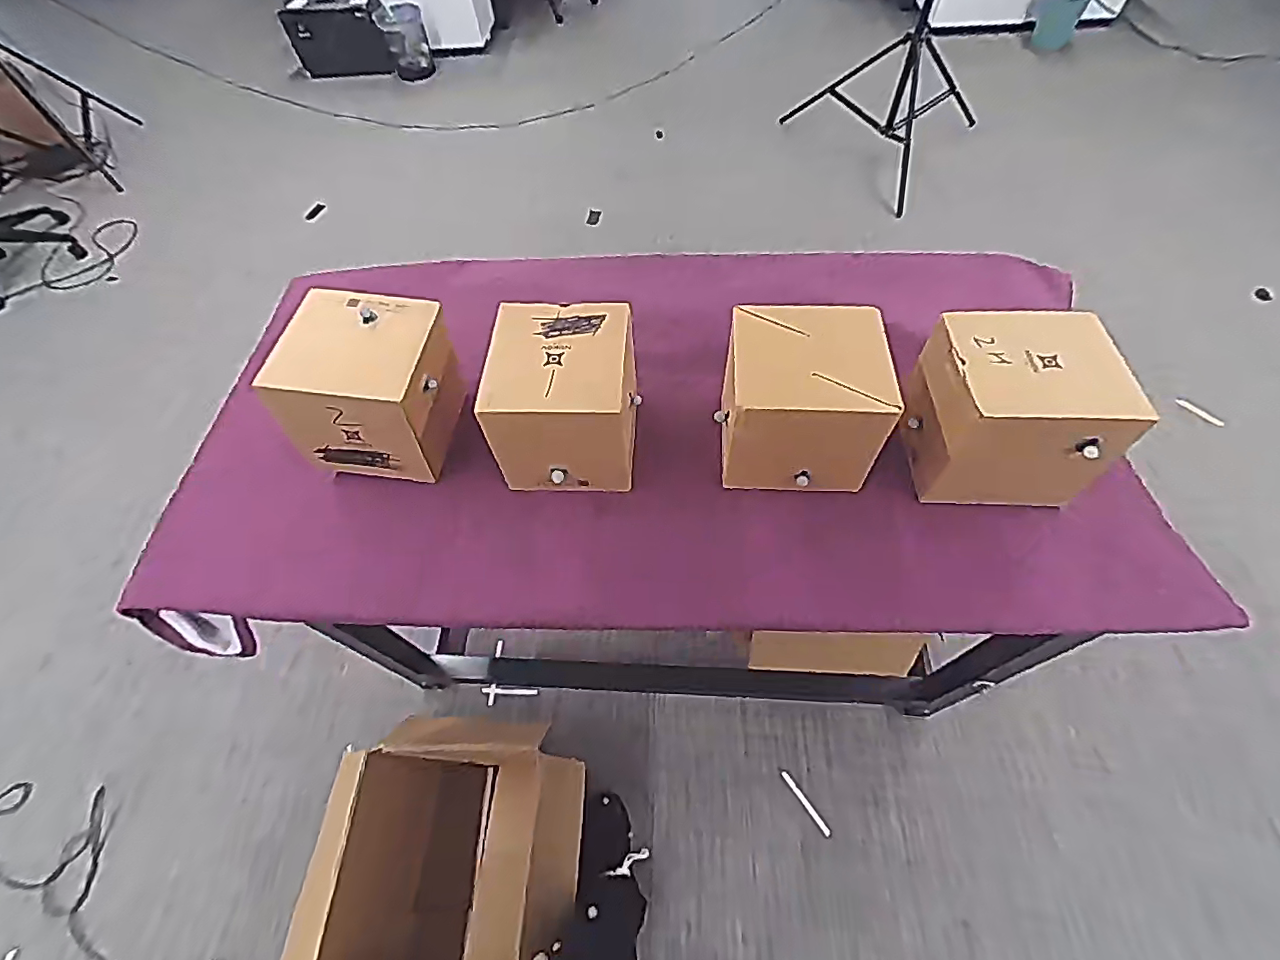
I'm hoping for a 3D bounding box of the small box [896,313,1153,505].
[{"bbox_3d":[0.444,-0.081,0.662,0.179,0.176,0.168,2,55,5],"label":"small box"}]

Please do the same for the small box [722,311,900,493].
[{"bbox_3d":[0.200,-0.098,0.686,0.179,0.176,0.168,2,56,5],"label":"small box"}]

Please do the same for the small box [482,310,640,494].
[{"bbox_3d":[-0.088,-0.100,0.710,0.168,0.176,0.179,1,58,4],"label":"small box"}]
